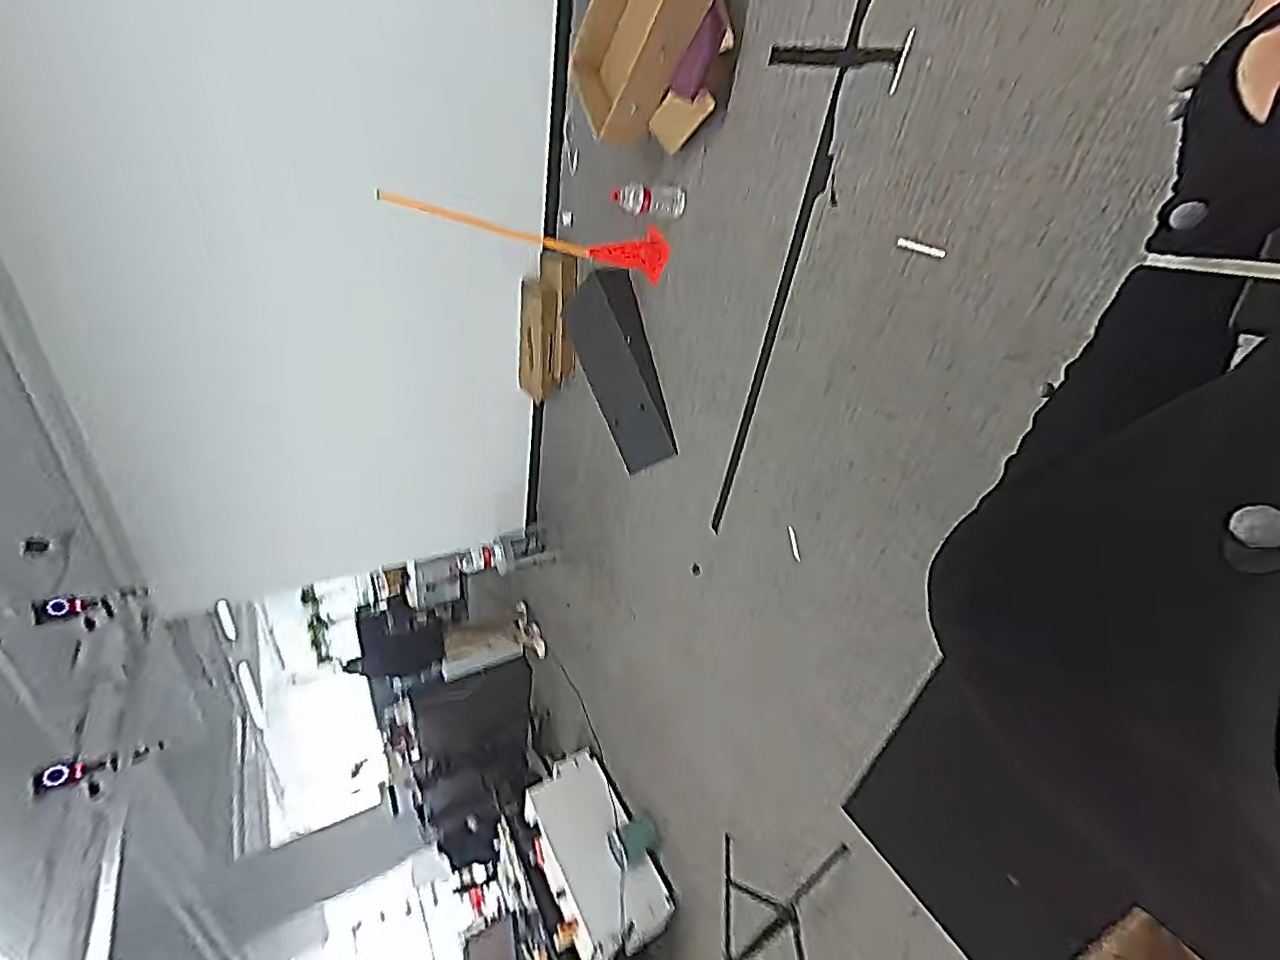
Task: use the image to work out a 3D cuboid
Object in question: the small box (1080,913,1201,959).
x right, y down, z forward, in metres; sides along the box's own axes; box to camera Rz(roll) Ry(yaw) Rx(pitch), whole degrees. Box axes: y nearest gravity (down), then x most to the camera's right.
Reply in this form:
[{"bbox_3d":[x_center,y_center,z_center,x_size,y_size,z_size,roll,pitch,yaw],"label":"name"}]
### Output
[{"bbox_3d":[0.618,0.675,0.634,0.179,0.176,0.168,40,132,45],"label":"small box"}]
